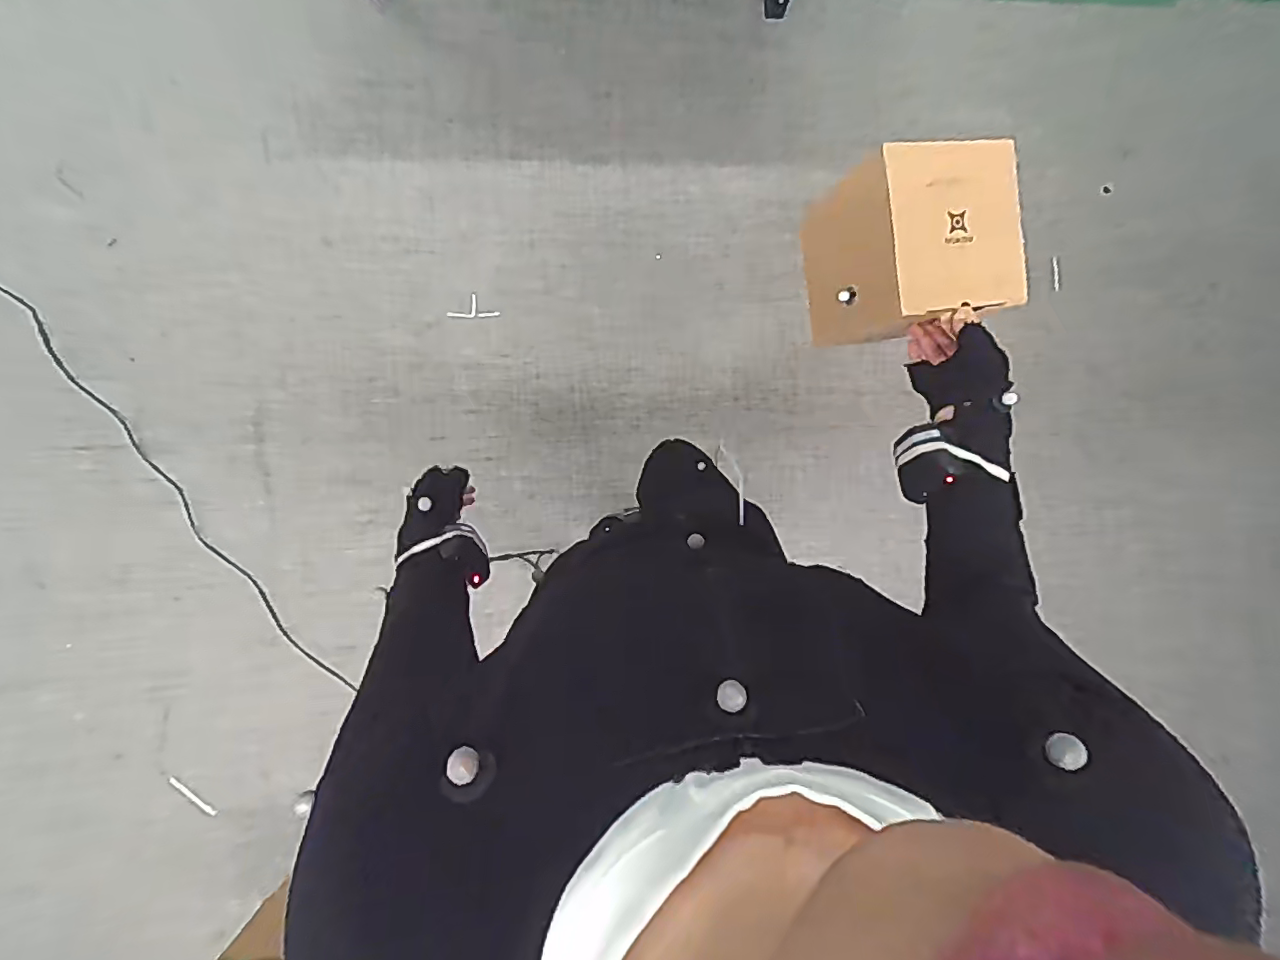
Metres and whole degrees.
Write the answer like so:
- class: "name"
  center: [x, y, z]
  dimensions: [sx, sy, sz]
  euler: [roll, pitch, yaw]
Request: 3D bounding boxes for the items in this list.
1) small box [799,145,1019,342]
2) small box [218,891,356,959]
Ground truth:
- class: "small box"
  center: [0.312, -0.269, 0.652]
  dimensions: [0.168, 0.176, 0.179]
  euler: [-9, 94, -13]
- class: "small box"
  center: [-0.635, 0.891, 0.974]
  dimensions: [0.168, 0.176, 0.179]
  euler: [5, 86, -6]
